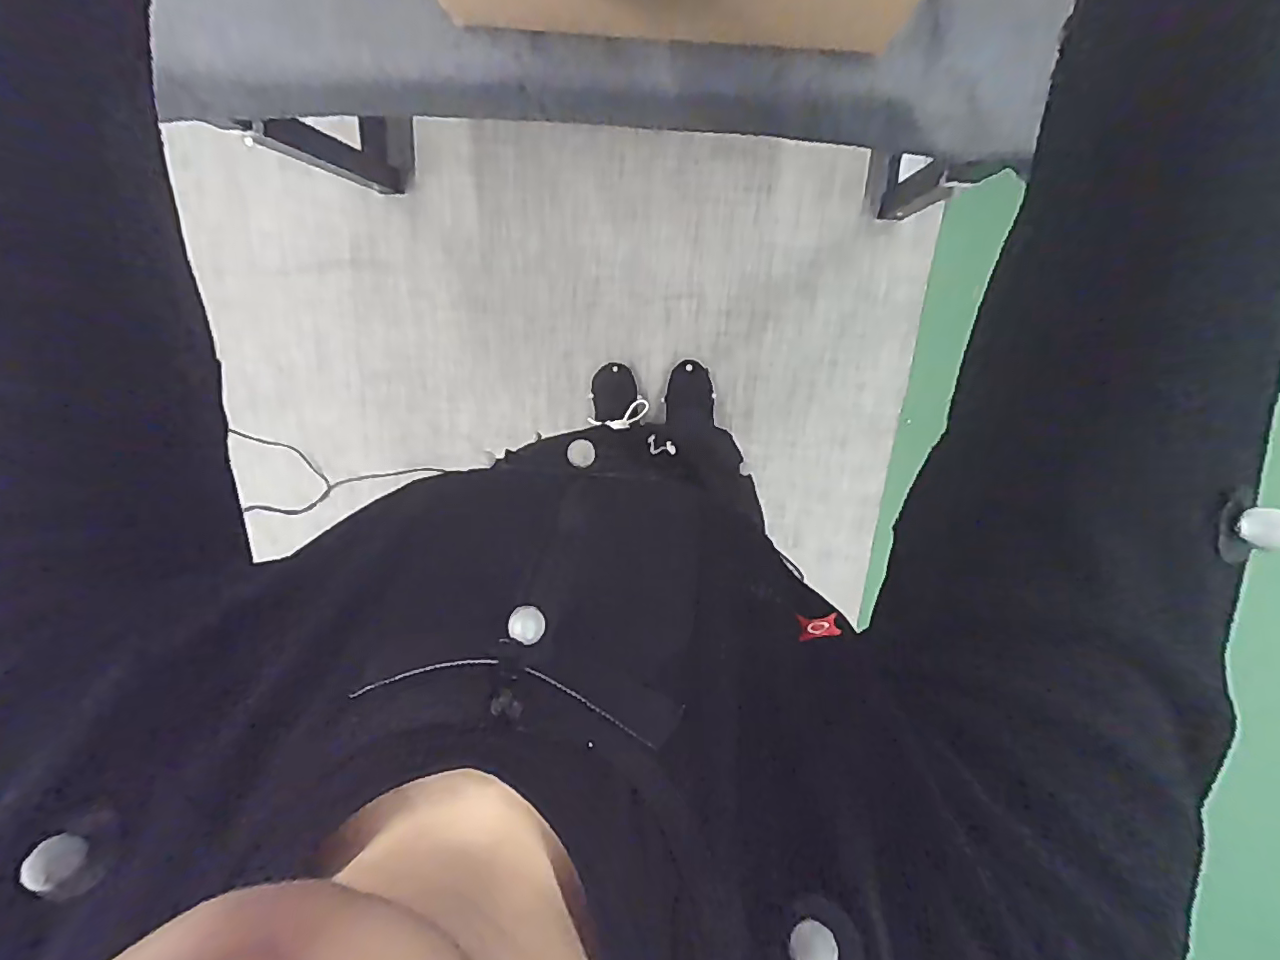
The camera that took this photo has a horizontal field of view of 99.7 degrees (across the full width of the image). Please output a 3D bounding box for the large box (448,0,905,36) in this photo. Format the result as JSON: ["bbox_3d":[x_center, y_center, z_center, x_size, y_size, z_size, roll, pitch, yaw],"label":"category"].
[{"bbox_3d":[0.024,-0.526,0.320,0.408,0.320,0.320,5,106,3],"label":"large box"}]
